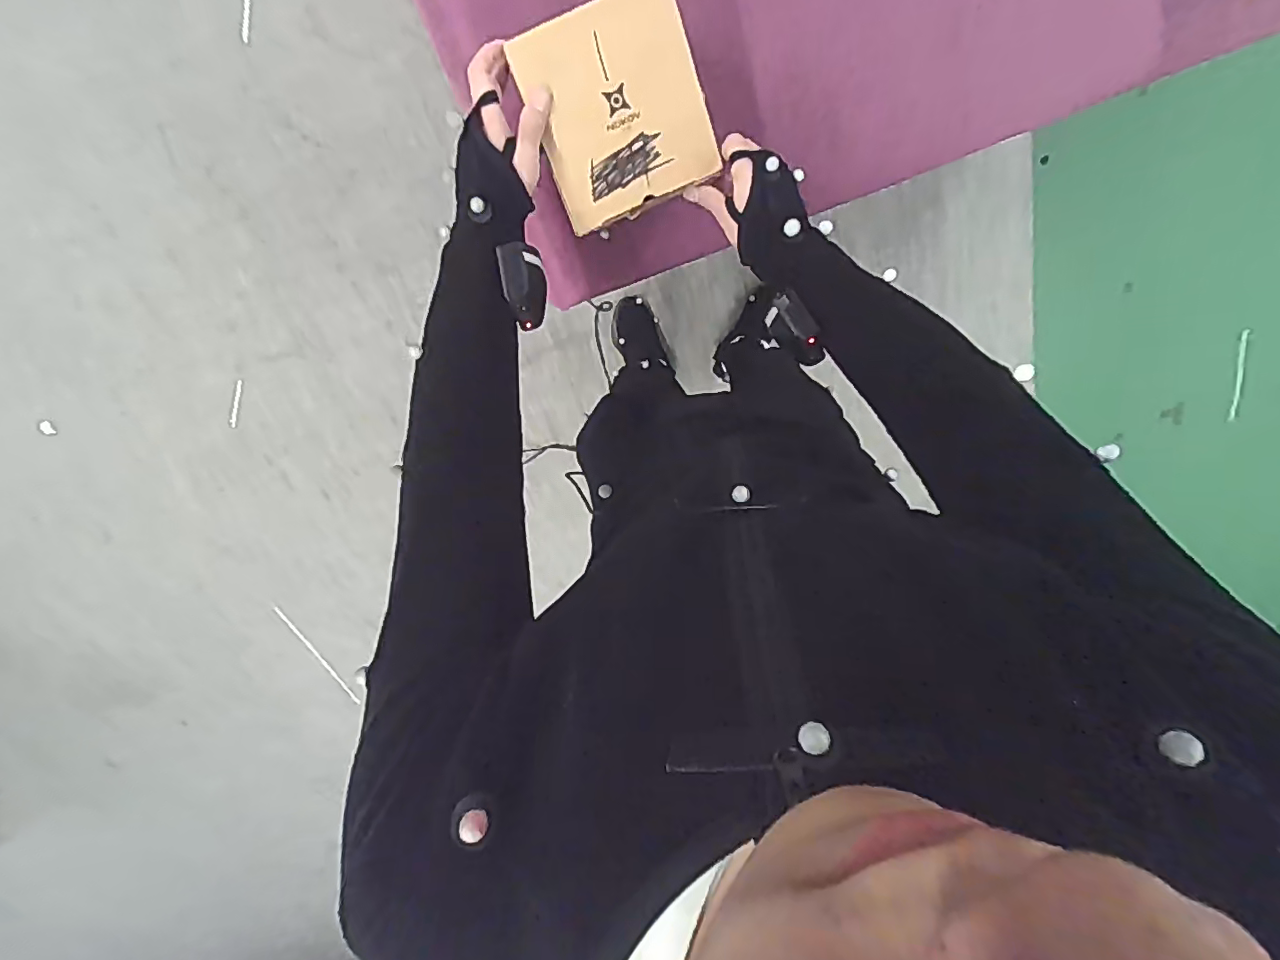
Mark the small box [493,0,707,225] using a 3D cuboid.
[{"bbox_3d":[-0.038,-0.405,0.605,0.168,0.176,0.179,-21,114,6],"label":"small box"}]
